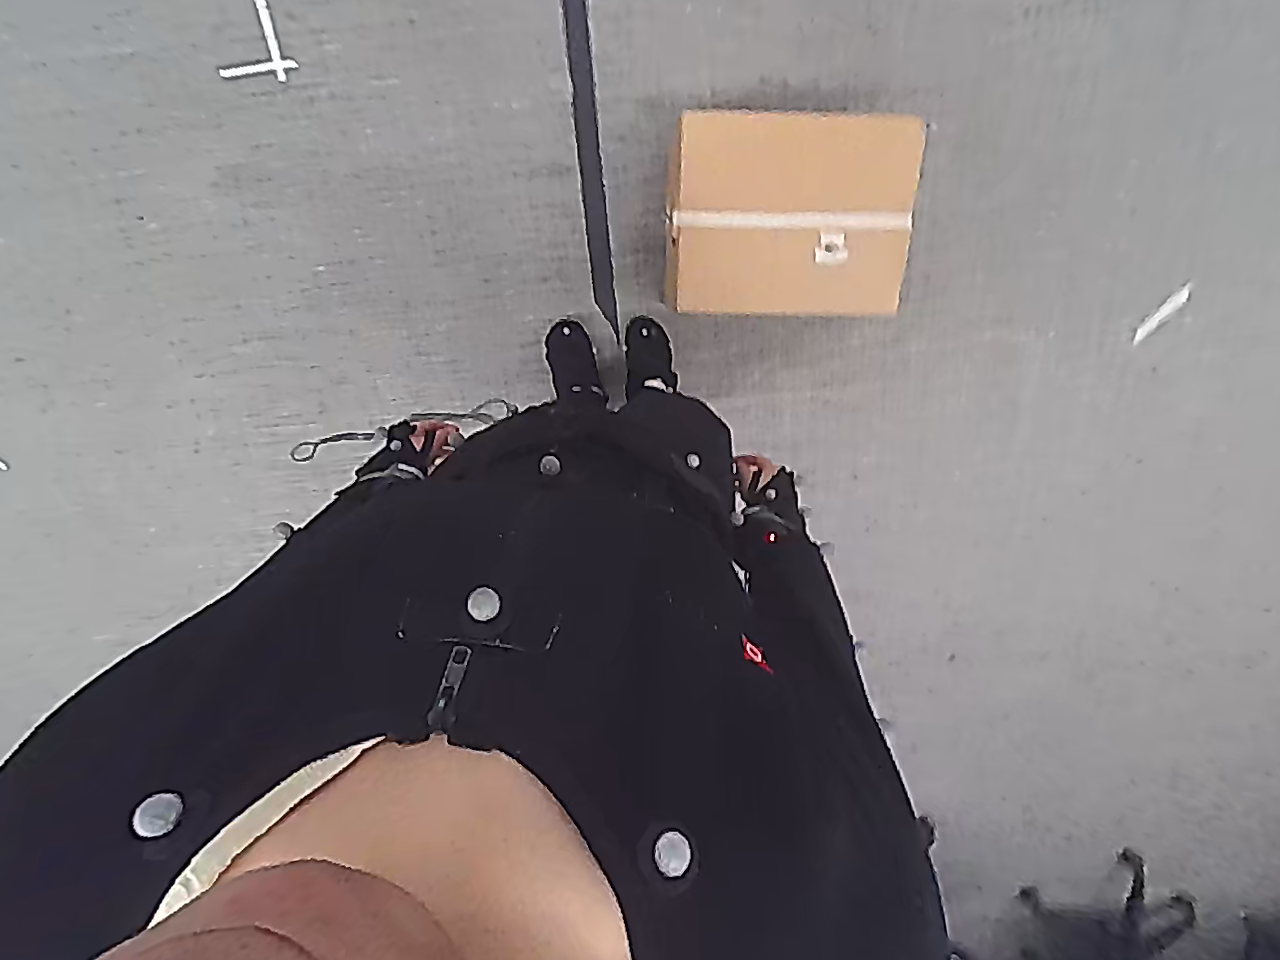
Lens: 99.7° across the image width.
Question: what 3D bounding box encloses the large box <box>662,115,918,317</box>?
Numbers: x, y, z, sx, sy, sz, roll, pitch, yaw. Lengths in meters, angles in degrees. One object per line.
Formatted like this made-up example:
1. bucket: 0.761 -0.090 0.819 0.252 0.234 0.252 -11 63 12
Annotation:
1. large box: 0.255 -0.497 1.070 0.408 0.320 0.320 -1 111 -2
